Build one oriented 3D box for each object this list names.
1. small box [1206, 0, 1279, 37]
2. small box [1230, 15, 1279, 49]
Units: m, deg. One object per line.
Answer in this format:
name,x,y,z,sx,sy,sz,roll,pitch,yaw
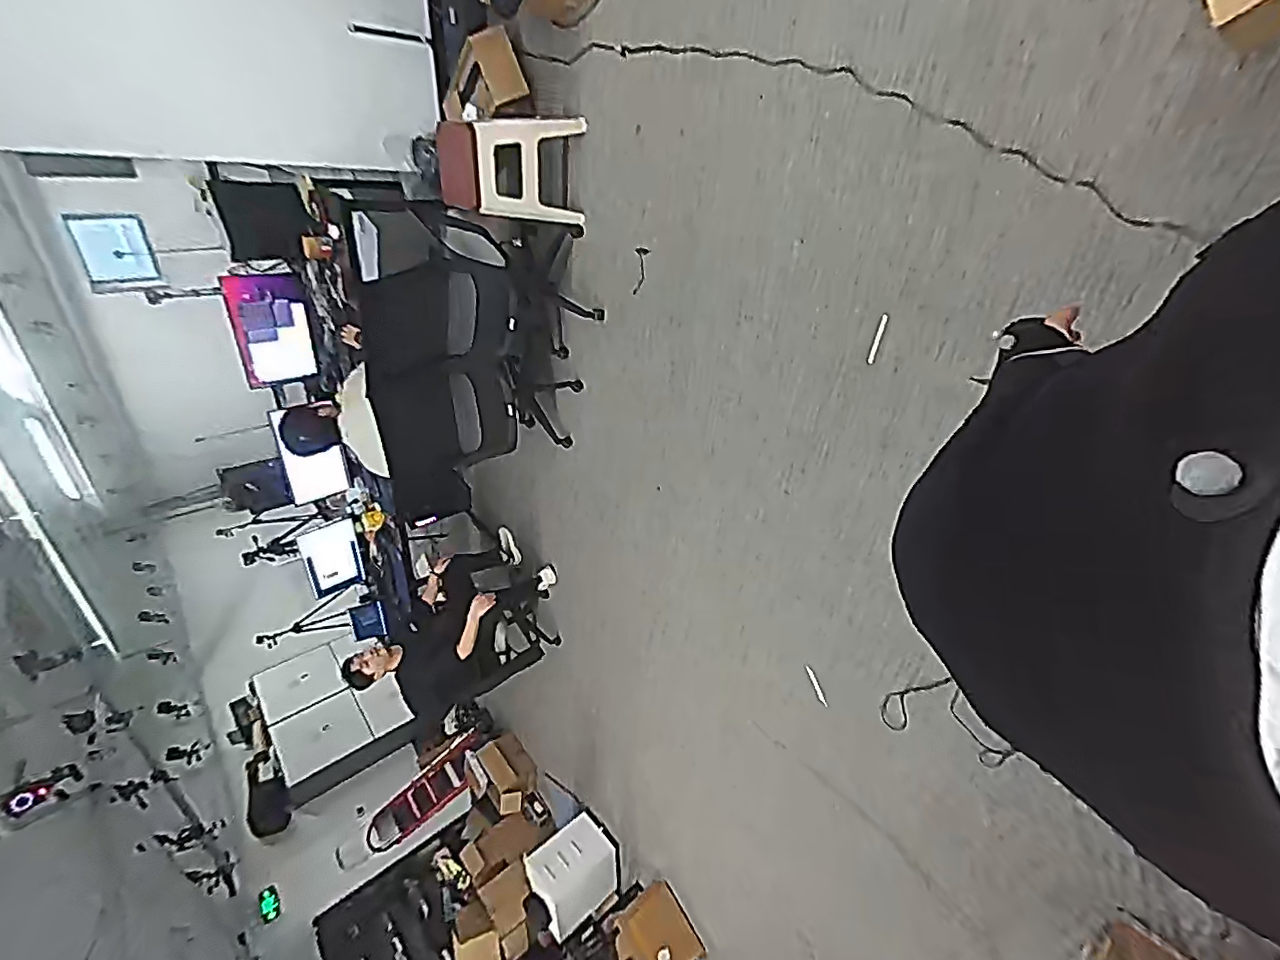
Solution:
small box,0.859,-0.733,0.706,0.179,0.176,0.168,-19,92,53
small box,0.980,-0.796,0.802,0.179,0.176,0.168,-22,90,53
